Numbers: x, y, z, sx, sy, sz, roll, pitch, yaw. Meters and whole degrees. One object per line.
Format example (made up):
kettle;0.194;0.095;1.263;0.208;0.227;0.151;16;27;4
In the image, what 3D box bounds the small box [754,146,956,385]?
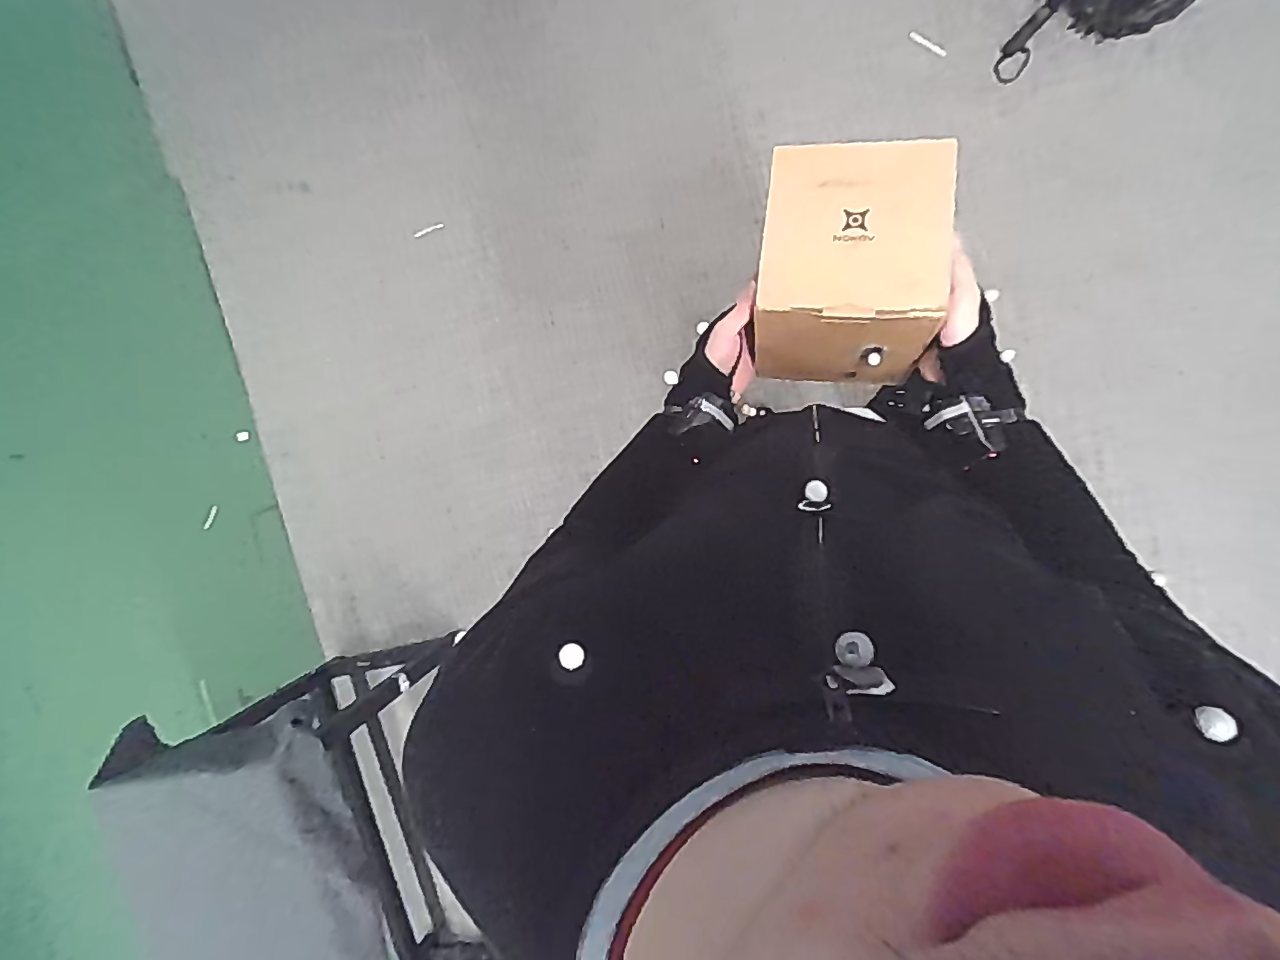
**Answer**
small box;0.213;-0.213;0.572;0.168;0.176;0.179;6;77;12
